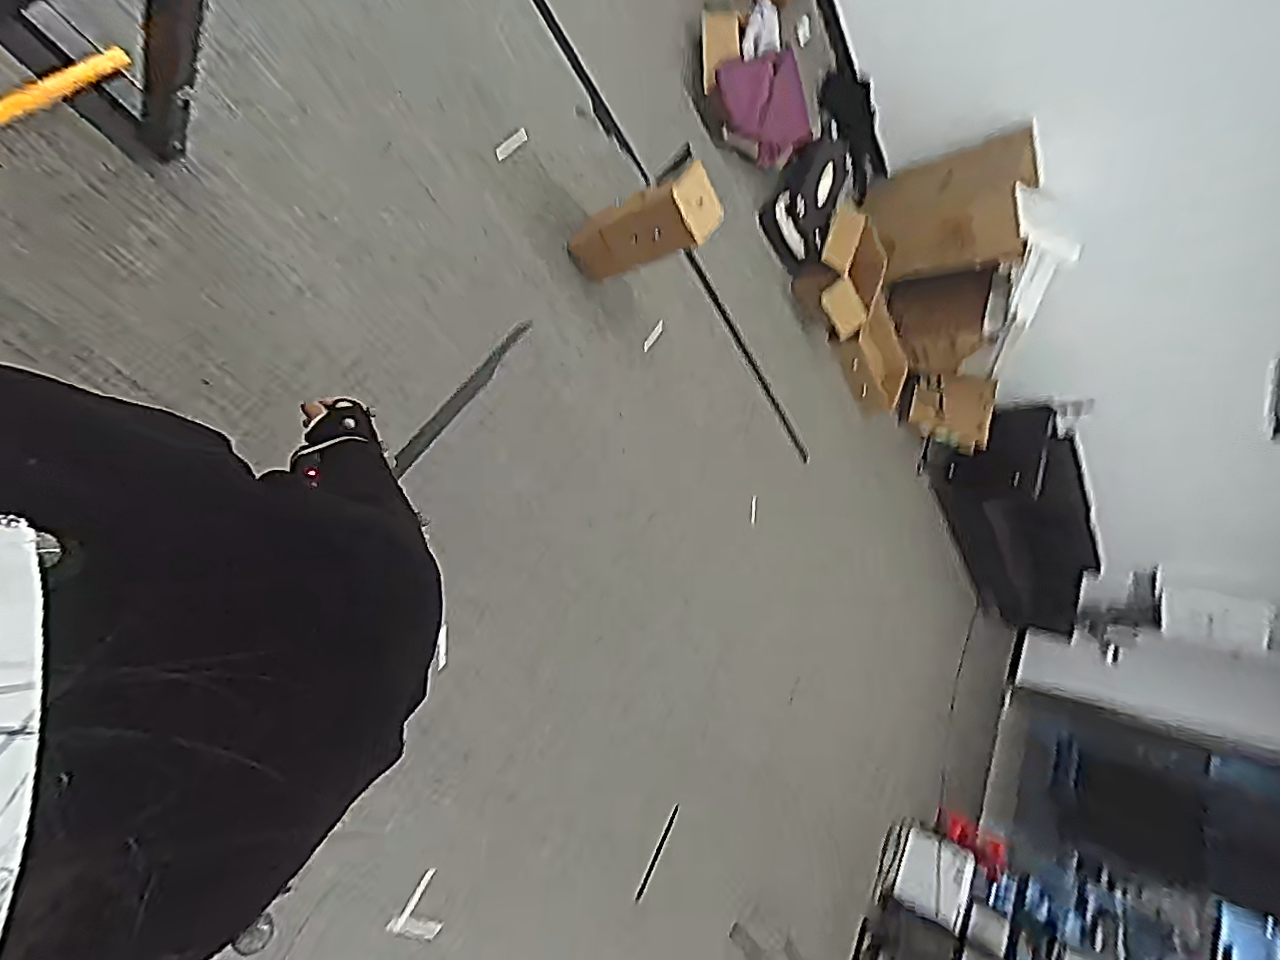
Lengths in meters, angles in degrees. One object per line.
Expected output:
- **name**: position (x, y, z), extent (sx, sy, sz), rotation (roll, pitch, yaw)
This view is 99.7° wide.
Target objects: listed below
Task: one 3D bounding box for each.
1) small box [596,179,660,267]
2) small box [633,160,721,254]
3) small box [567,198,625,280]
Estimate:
- **small box**: position (-0.008, -0.816, 1.735), extent (0.179, 0.176, 0.168), rotation (49, 60, -34)
- **small box**: position (0.109, -0.811, 1.618), extent (0.168, 0.176, 0.179), rotation (52, 59, -31)
- **small box**: position (-0.122, -0.821, 1.854), extent (0.168, 0.176, 0.179), rotation (44, 64, -35)
